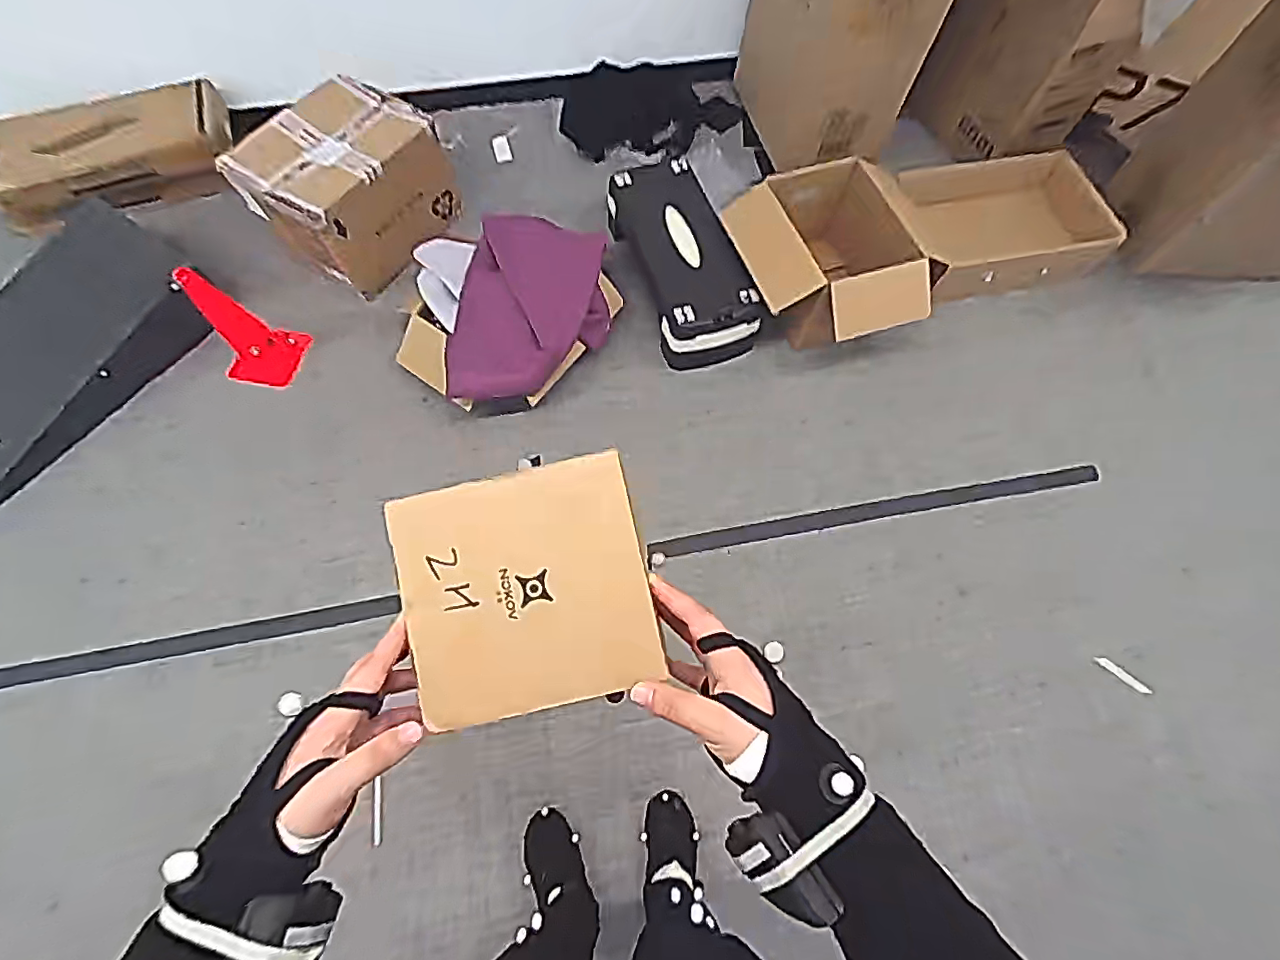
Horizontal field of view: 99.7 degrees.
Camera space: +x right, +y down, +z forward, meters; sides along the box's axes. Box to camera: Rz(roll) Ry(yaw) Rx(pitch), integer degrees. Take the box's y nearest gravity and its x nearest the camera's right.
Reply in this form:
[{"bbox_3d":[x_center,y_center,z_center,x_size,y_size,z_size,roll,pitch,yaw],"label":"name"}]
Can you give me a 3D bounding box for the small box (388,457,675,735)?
[{"bbox_3d":[-0.075,0.083,0.454,0.179,0.176,0.168,-13,86,1],"label":"small box"}]
